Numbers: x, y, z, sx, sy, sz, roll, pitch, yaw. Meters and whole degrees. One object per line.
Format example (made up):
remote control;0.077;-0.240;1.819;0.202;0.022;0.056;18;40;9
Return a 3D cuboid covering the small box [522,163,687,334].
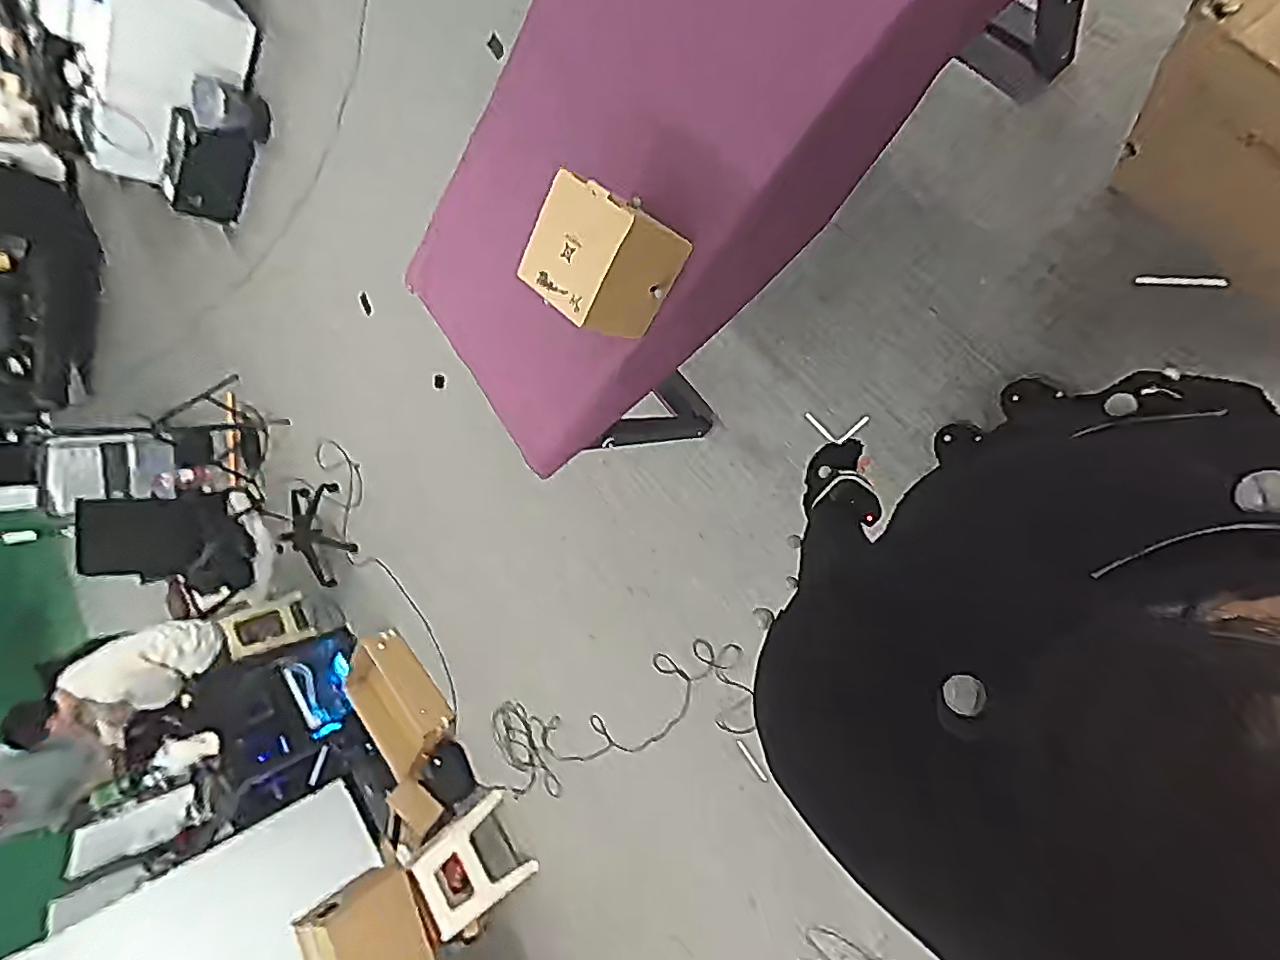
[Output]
small box;-0.049;-0.356;0.862;0.168;0.176;0.179;44;118;23
